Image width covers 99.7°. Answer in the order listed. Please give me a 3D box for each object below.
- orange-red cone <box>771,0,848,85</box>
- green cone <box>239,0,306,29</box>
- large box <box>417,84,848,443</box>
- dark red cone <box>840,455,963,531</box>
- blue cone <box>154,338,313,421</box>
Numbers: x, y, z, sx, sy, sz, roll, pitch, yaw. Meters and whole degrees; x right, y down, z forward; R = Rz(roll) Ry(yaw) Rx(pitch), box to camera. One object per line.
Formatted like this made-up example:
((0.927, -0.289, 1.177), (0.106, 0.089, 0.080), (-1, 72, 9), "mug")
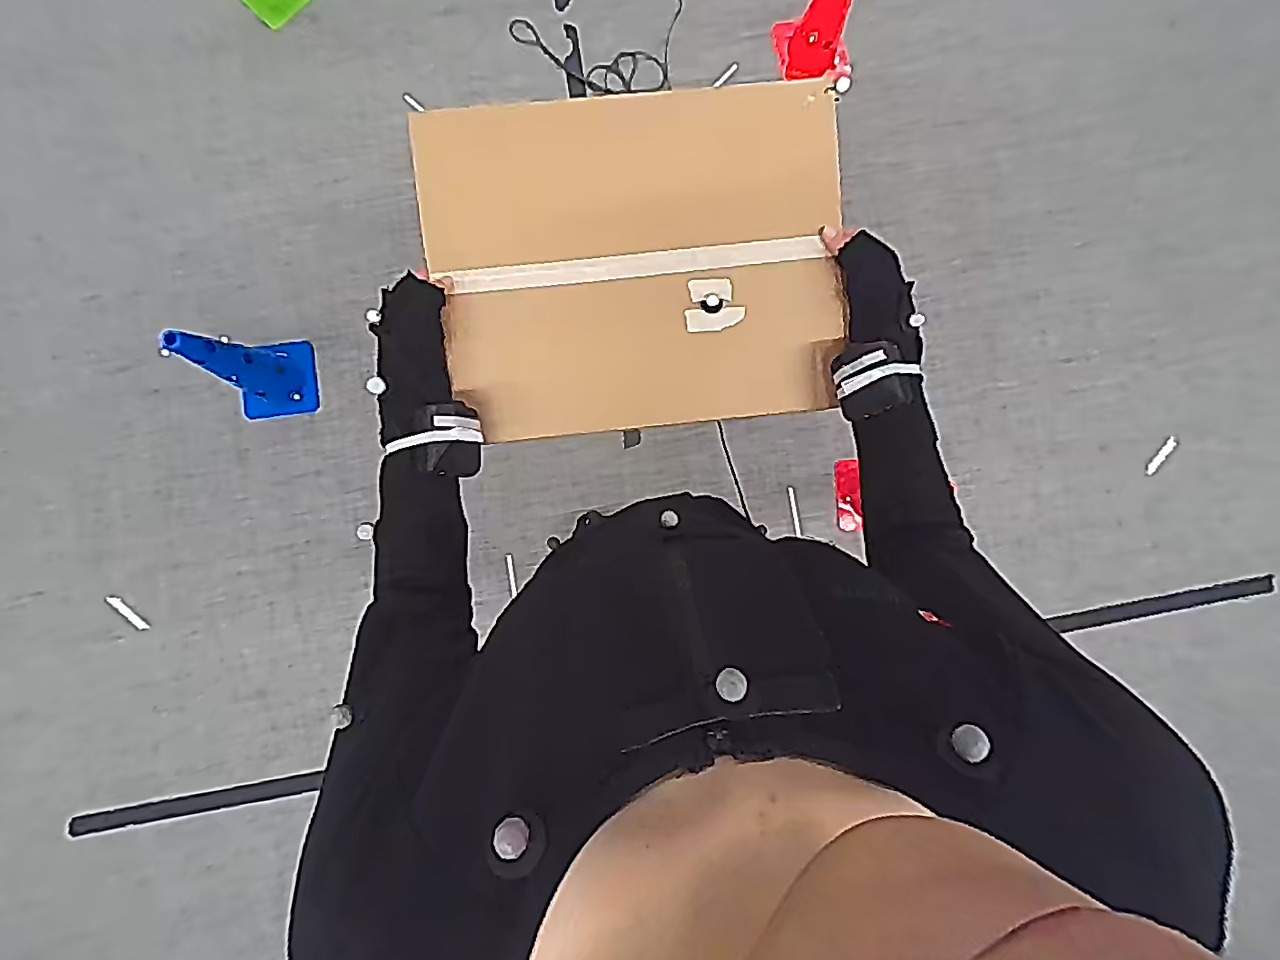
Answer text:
((0.499, -1.262, 1.403), (0.198, 0.360, 0.199), (-12, 86, -4), "orange-red cone")
((-1.031, -1.403, 1.350), (0.200, 0.368, 0.202), (42, 88, 1), "green cone")
((-0.008, -0.225, 0.681), (0.408, 0.320, 0.320), (-6, 96, -2), "large box")
((0.655, 0.026, 1.319), (0.201, 0.394, 0.202), (-4, 87, -1), "dark red cone")
((-0.989, -0.272, 1.312), (0.192, 0.380, 0.193), (-7, 87, -1), "blue cone")
